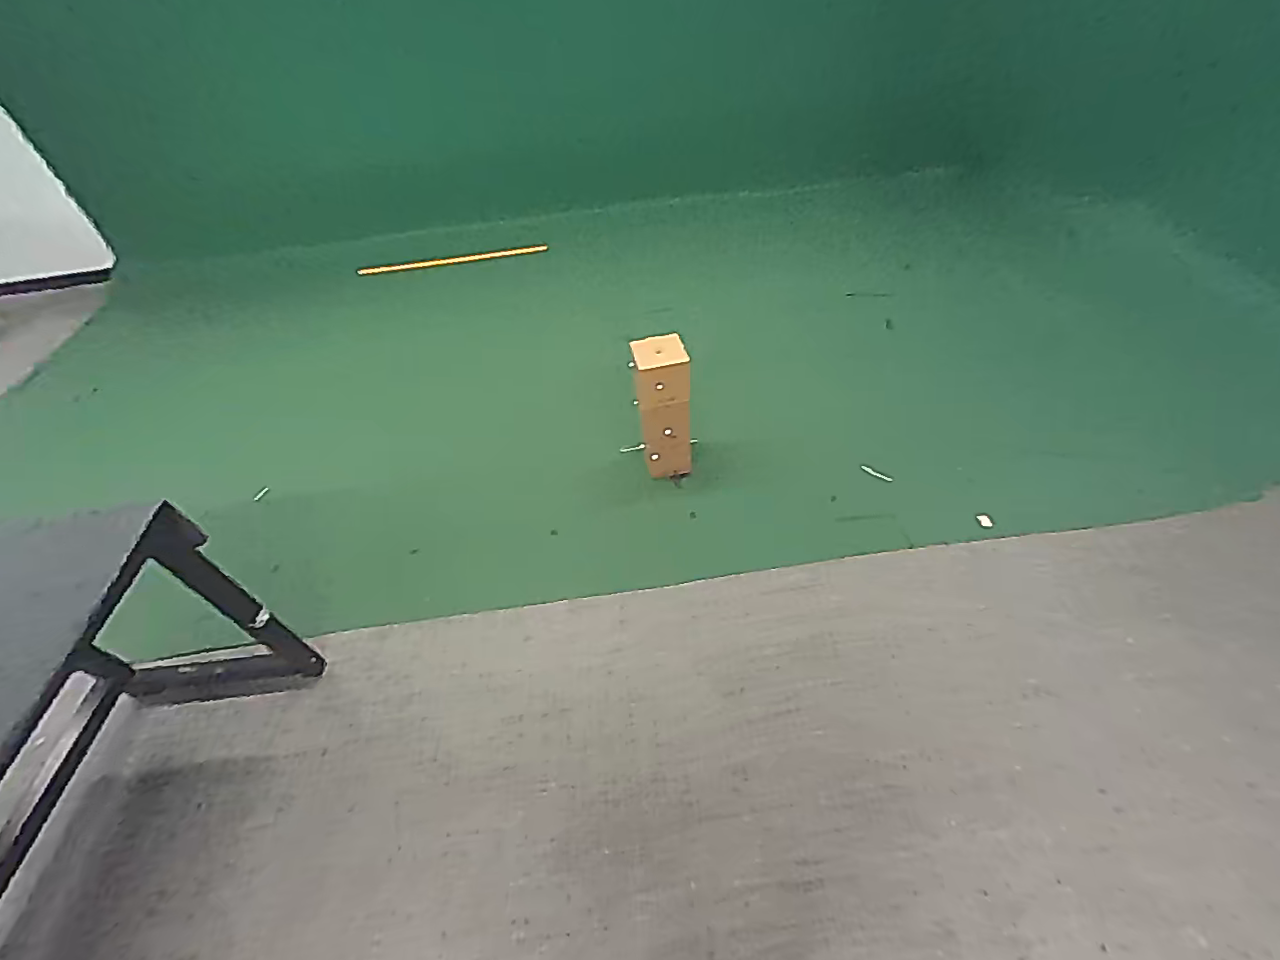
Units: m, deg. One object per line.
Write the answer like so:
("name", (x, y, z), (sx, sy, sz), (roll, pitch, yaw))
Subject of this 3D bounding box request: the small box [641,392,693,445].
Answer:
("small box", (0.096, -0.251, 1.954), (0.168, 0.176, 0.179), (-10, 46, -2))

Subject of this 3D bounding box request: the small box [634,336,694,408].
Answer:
("small box", (0.083, -0.361, 1.835), (0.168, 0.176, 0.179), (-12, 45, -4))
